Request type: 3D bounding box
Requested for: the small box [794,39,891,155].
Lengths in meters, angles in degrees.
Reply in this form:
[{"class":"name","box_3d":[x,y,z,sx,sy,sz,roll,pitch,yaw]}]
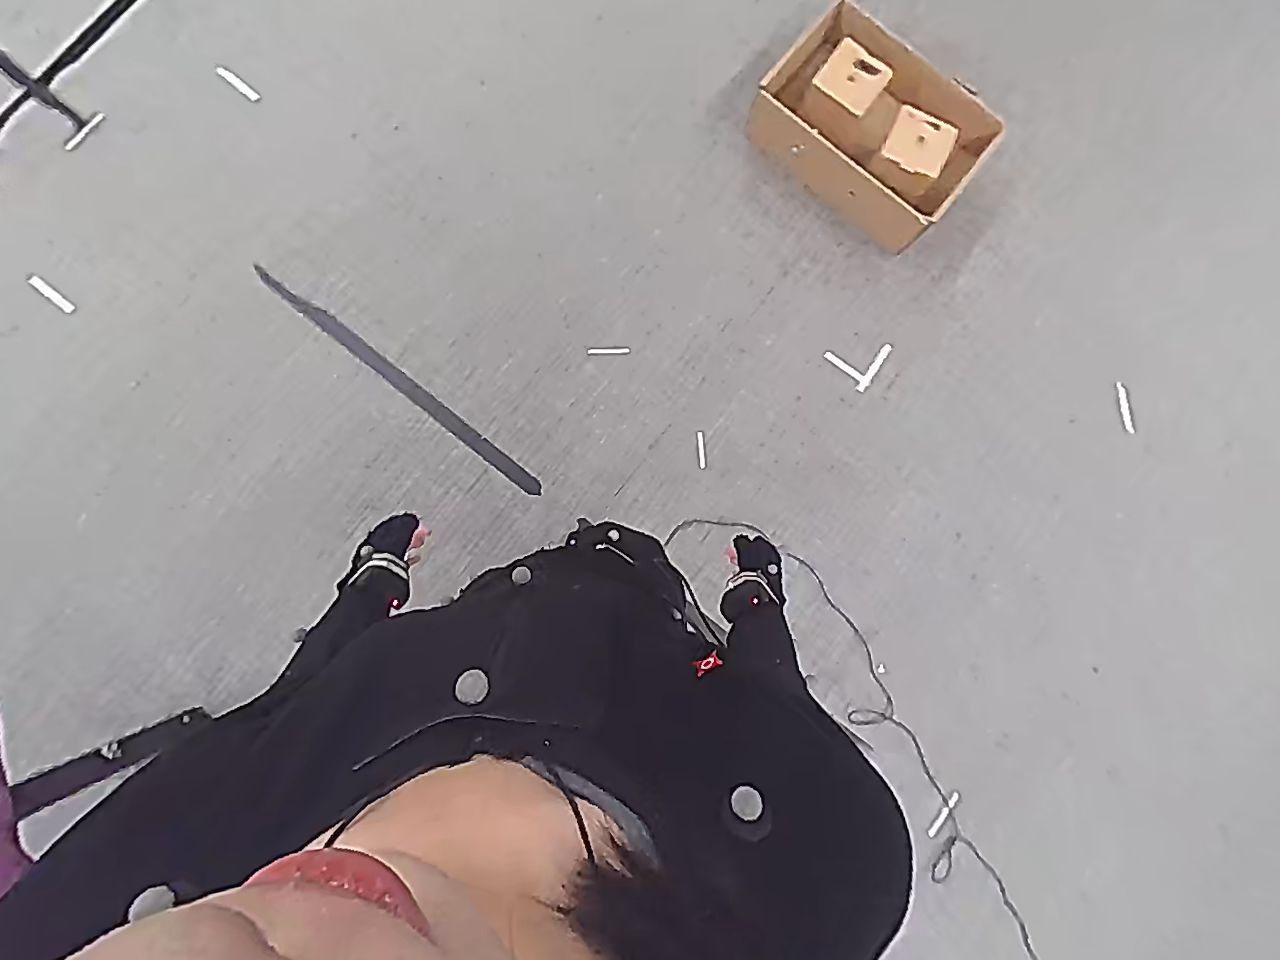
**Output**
[{"class":"small box","box_3d":[0.573,-1.094,1.557,0.168,0.176,0.179,36,83,0]}]
